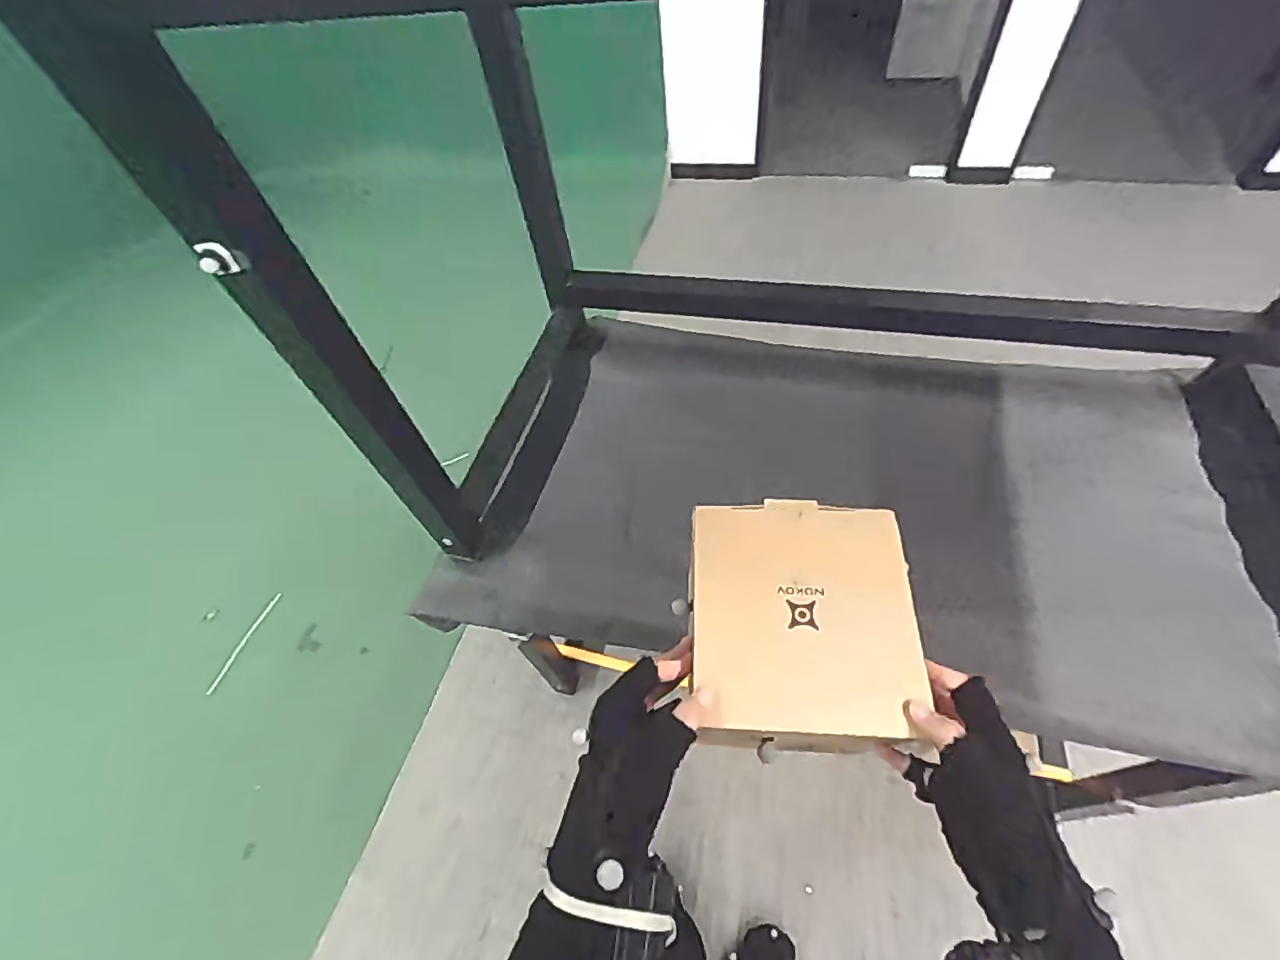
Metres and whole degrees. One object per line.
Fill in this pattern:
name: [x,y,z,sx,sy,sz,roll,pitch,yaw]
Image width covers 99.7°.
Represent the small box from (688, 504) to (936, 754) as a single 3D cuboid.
small box: [0.128,0.137,0.477,0.168,0.176,0.179,1,58,4]
